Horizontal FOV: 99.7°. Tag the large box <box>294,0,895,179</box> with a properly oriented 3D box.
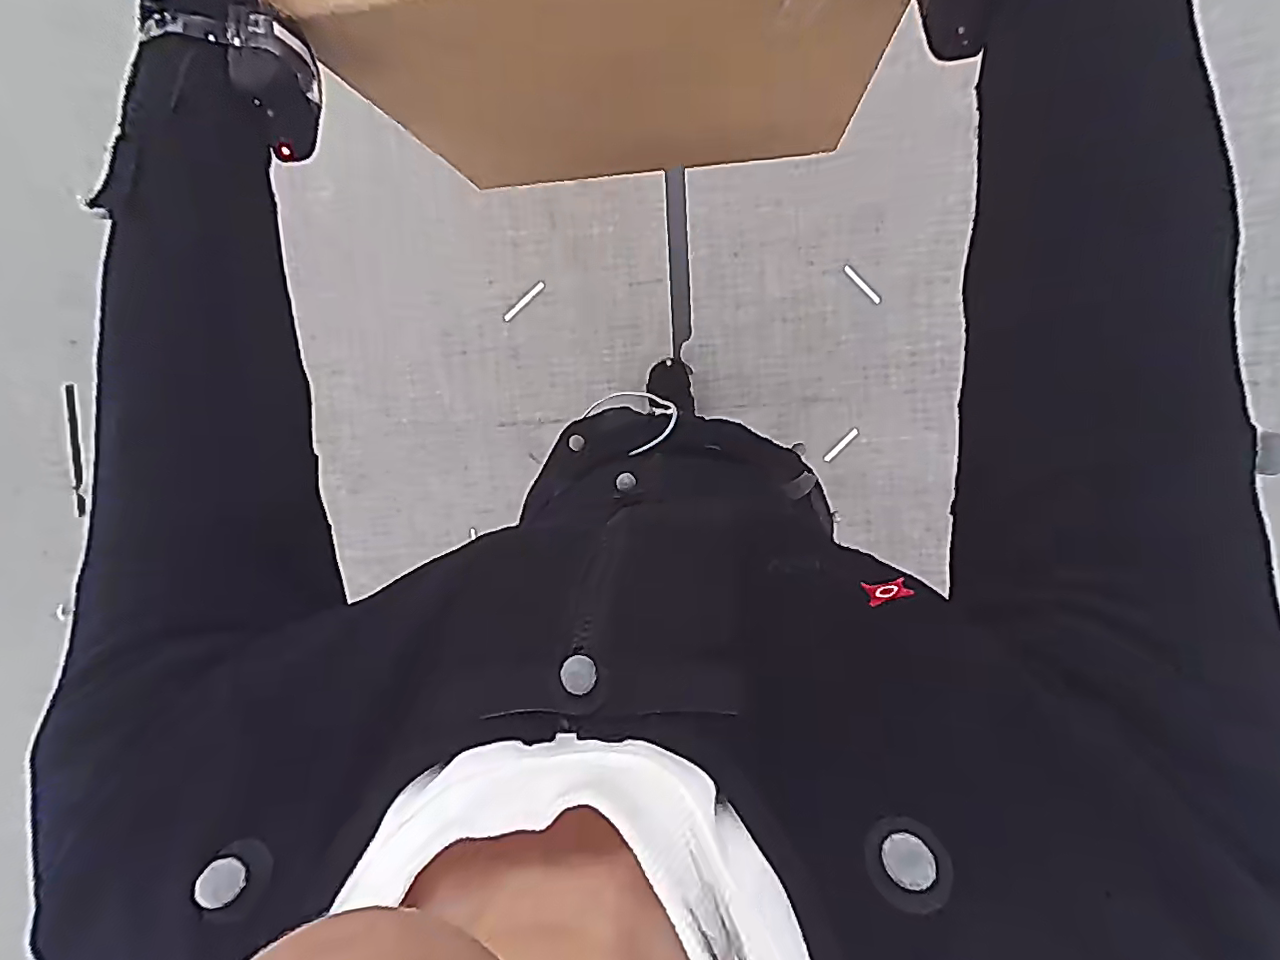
[{"bbox_3d":[-0.019,-0.482,0.437,0.408,0.320,0.320,-2,101,8],"label":"large box"}]
